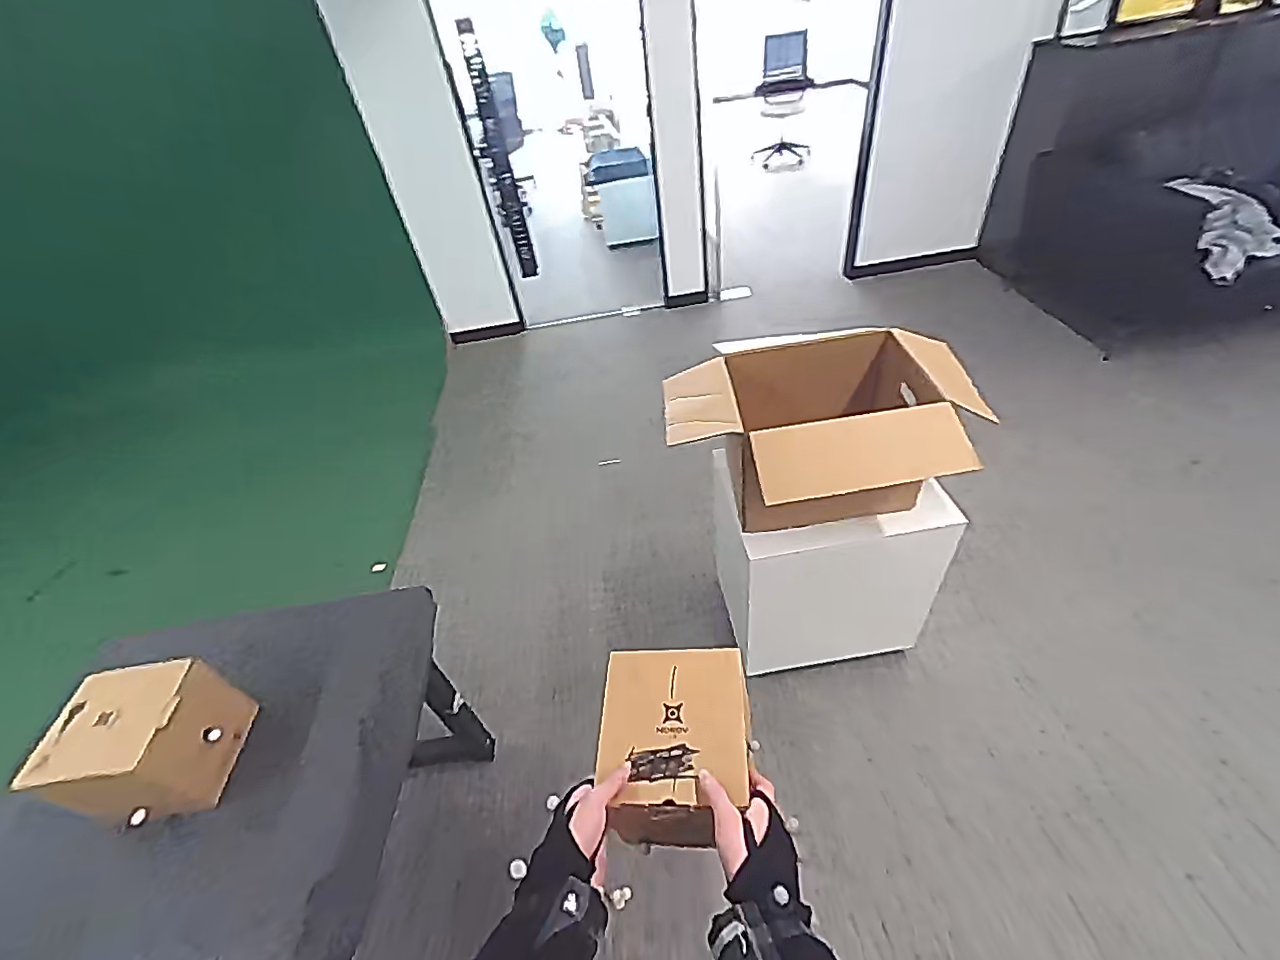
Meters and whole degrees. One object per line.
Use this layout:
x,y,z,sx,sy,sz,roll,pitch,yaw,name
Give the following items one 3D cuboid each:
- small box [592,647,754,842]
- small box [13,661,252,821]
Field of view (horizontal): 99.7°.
0.051,0.327,0.669,0.168,0.176,0.179,-4,44,11,small box
-0.755,0.404,0.835,0.179,0.176,0.168,-8,42,0,small box
